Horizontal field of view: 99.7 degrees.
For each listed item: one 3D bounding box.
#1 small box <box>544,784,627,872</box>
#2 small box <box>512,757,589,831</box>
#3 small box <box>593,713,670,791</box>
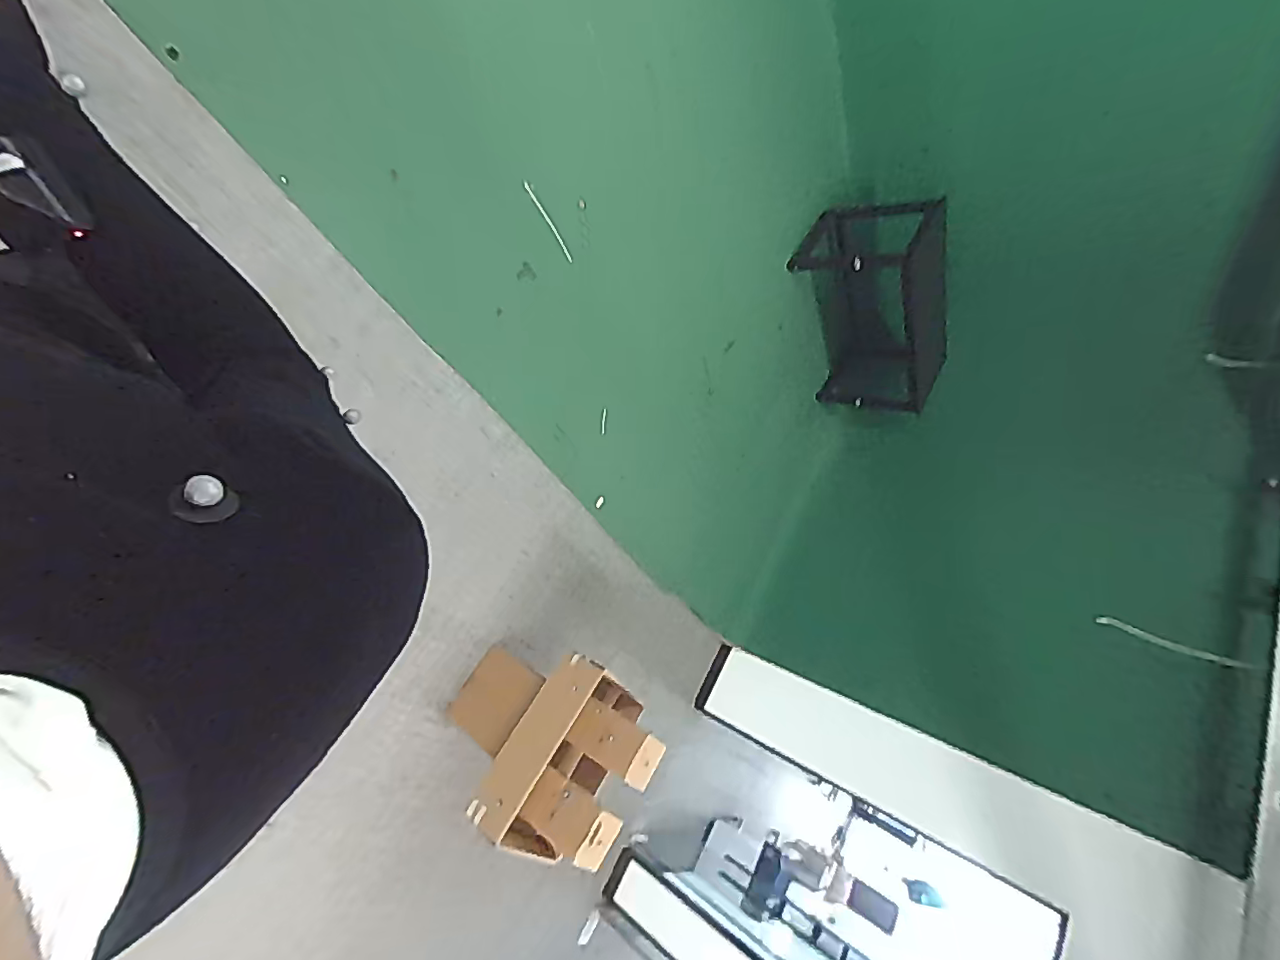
[{"bbox_3d":[-0.180,1.127,1.759,0.168,0.176,0.179,-53,137,-24],"label":"small box"},{"bbox_3d":[-0.304,1.090,1.862,0.168,0.176,0.179,-54,137,-23],"label":"small box"},{"bbox_3d":[-0.030,0.938,1.874,0.168,0.176,0.179,-56,138,-23],"label":"small box"}]
